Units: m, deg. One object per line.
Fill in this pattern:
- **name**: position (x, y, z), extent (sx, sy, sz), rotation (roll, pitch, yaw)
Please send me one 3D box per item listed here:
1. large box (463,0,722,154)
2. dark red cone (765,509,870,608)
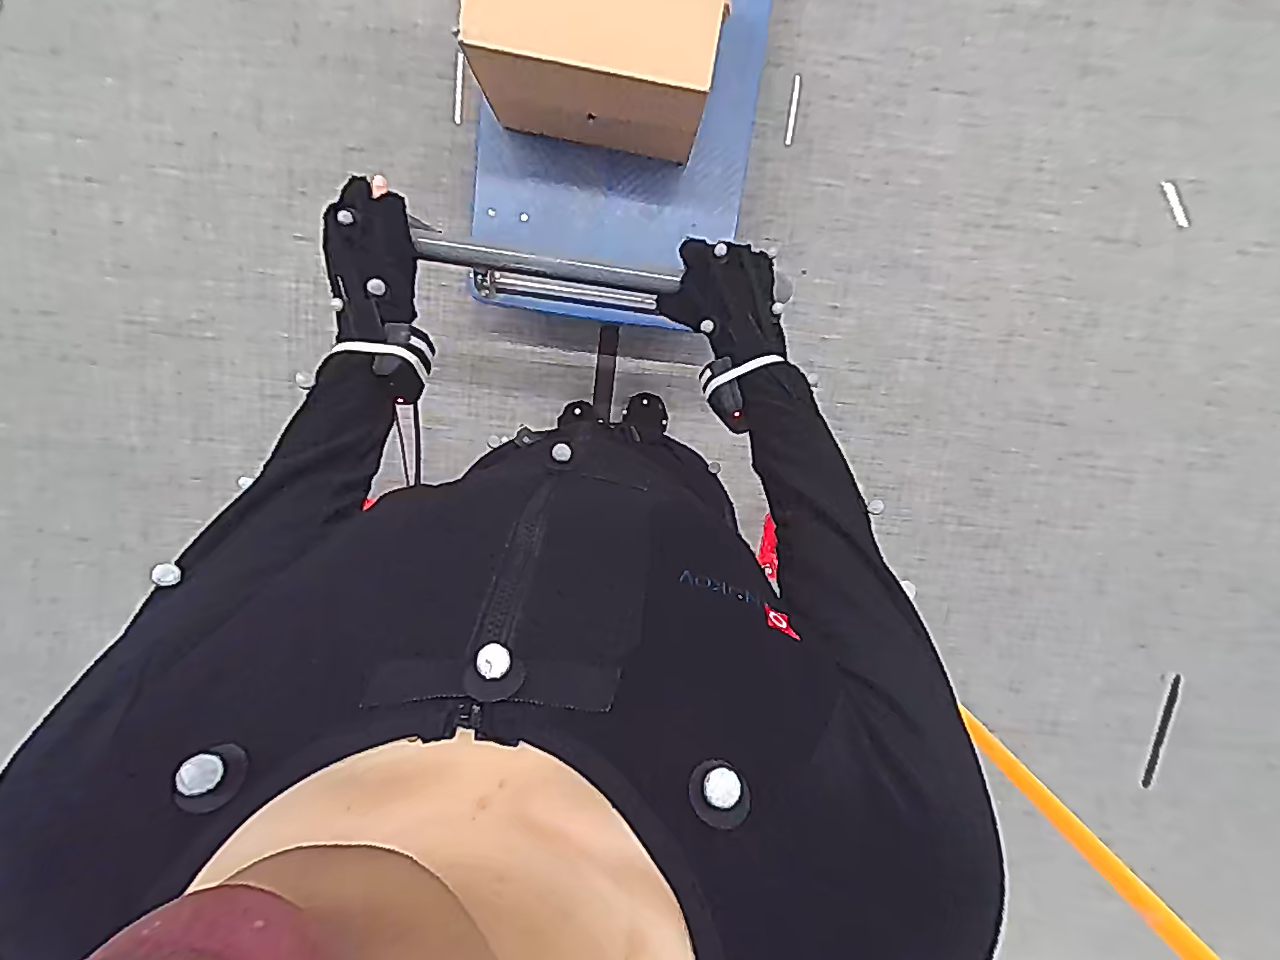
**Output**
- **large box**: position (-0.063, -0.835, 0.977), extent (0.408, 0.320, 0.320), rotation (9, 101, -2)
- **dark red cone**: position (0.458, 0.216, 1.333), extent (0.201, 0.394, 0.202), rotation (5, 102, -4)
